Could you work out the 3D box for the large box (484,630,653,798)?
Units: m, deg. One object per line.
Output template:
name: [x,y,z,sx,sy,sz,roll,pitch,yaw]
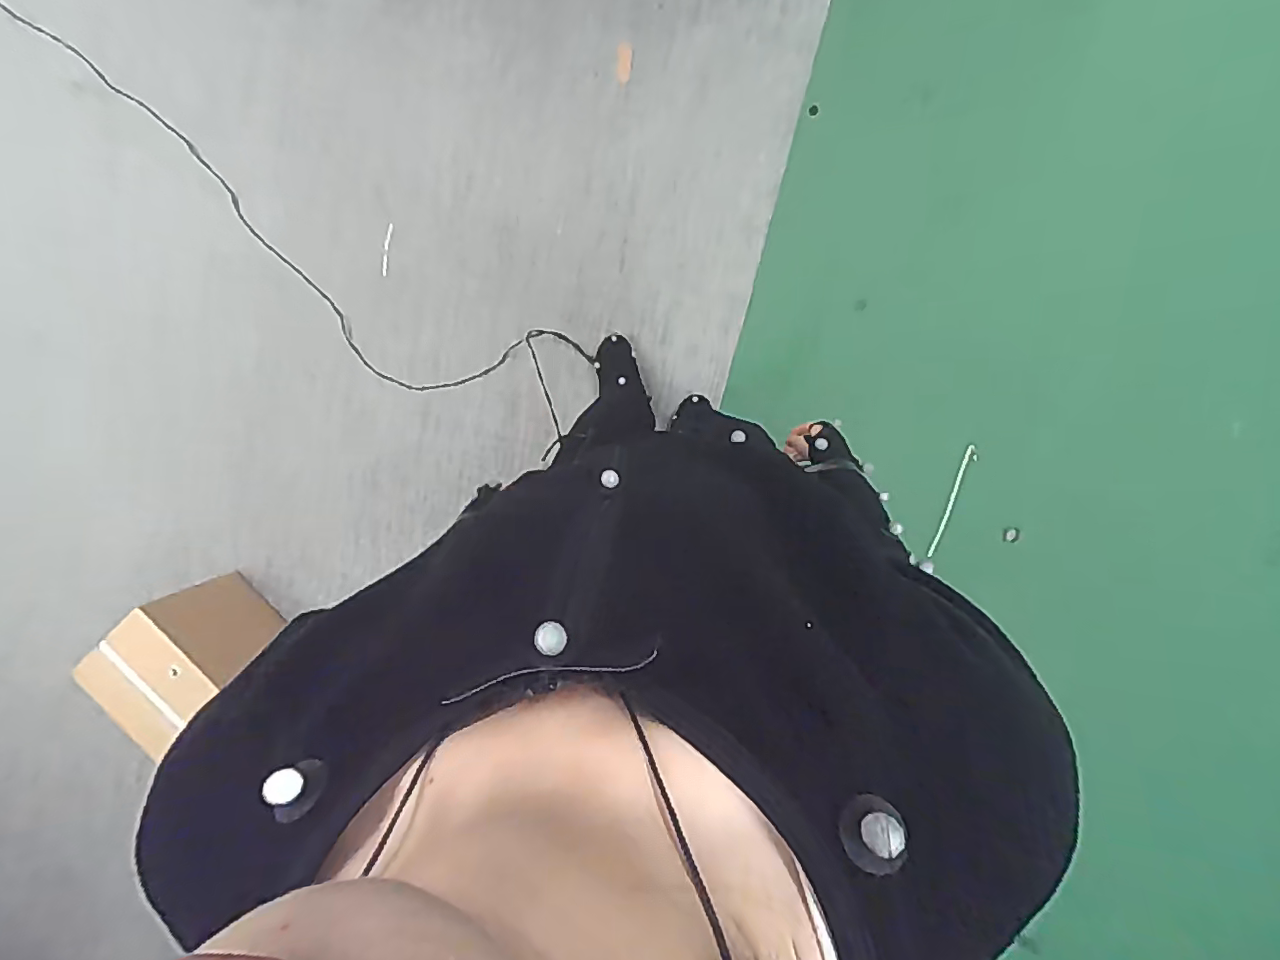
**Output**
large box: [-0.173,0.615,1.472,0.408,0.320,0.320,0,100,4]
